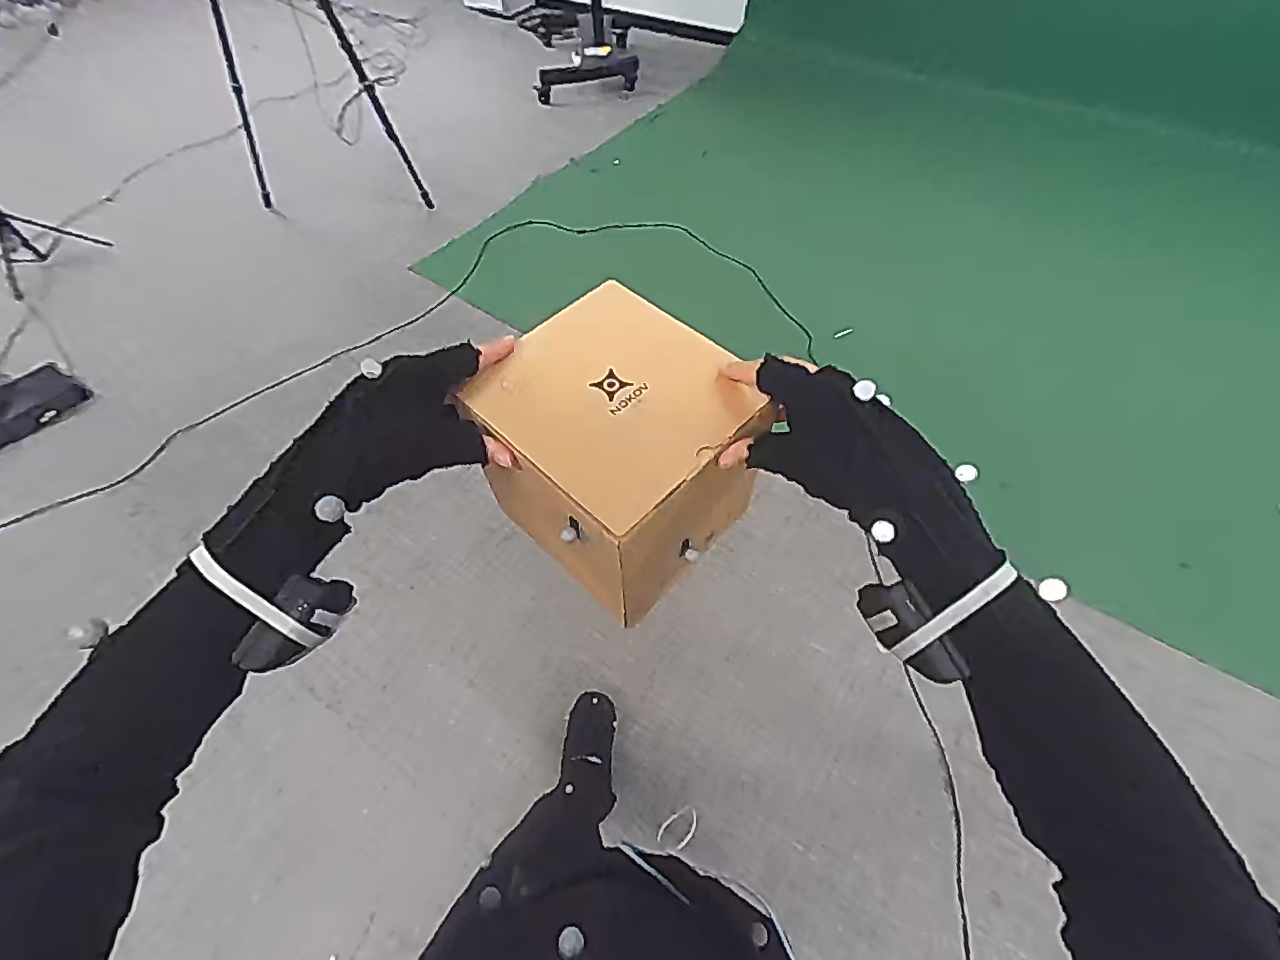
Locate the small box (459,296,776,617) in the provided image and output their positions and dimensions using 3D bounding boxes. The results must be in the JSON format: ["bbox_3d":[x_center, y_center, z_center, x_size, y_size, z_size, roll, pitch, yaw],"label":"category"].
[{"bbox_3d":[-0.019,-0.015,0.459,0.179,0.176,0.168,39,65,22],"label":"small box"}]
